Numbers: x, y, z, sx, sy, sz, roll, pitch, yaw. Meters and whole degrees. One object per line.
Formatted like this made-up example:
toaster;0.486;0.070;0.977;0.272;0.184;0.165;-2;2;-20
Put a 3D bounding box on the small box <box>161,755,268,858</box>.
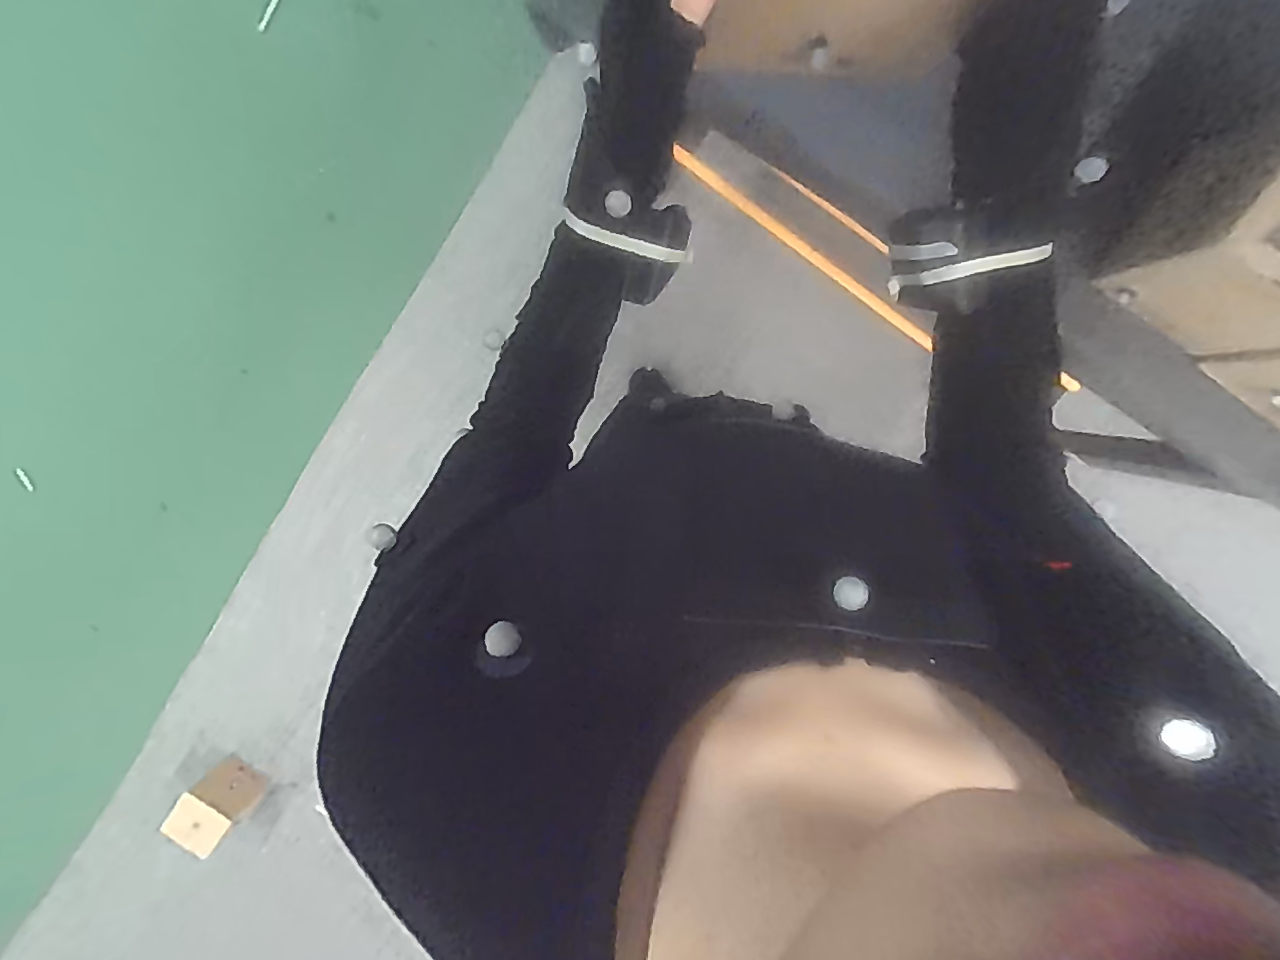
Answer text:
small box;-1.300;0.997;1.668;0.168;0.176;0.179;37;100;-2
